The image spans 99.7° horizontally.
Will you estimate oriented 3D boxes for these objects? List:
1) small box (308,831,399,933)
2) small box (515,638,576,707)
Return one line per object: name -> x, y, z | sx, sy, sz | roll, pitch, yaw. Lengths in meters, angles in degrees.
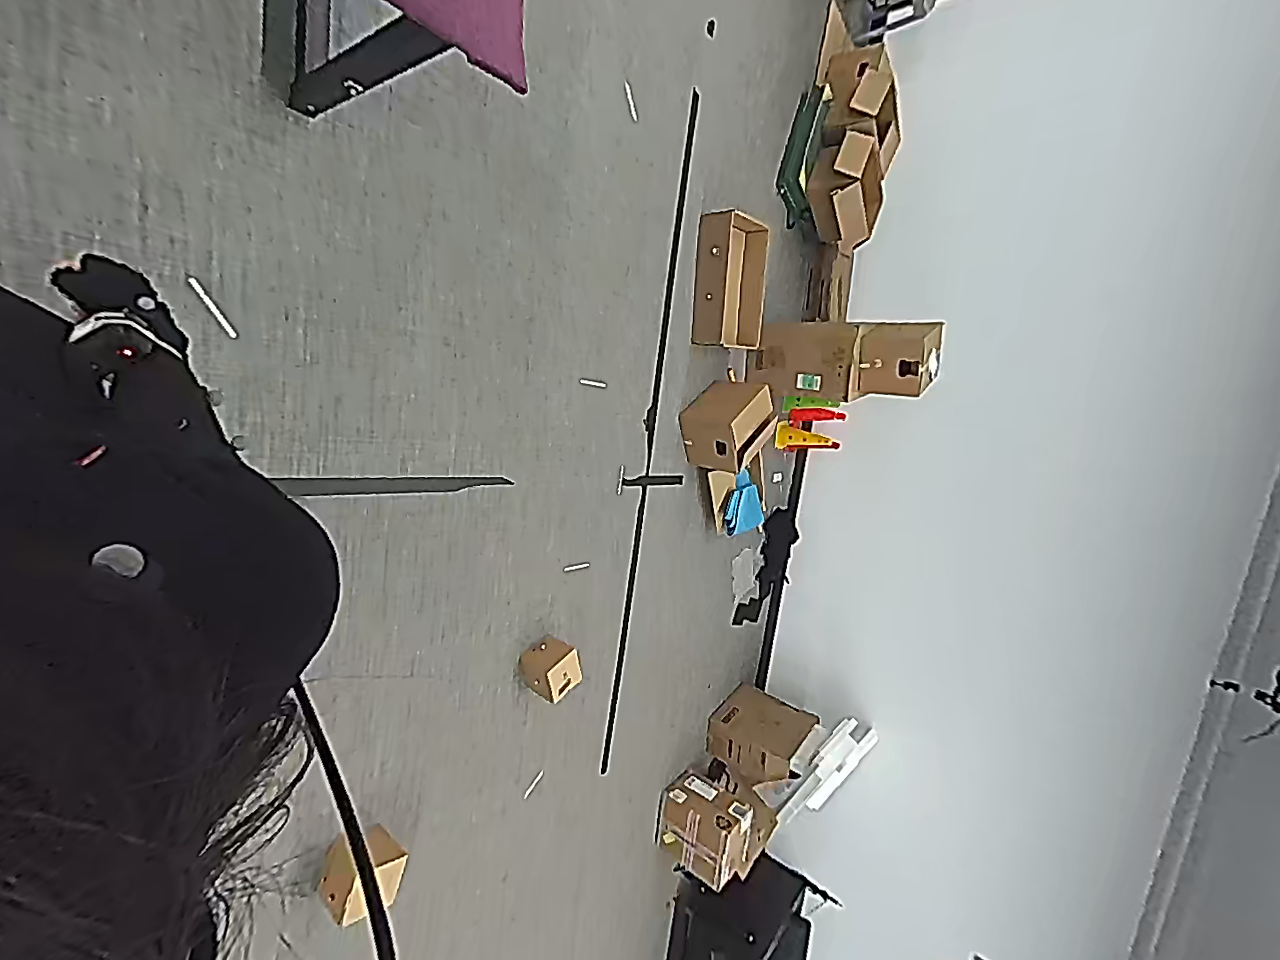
small box -> -0.905, 1.254, 1.702 | 0.179, 0.176, 0.168 | 20, 87, -55
small box -> -0.391, 0.787, 2.231 | 0.168, 0.176, 0.179 | -33, 125, -44
